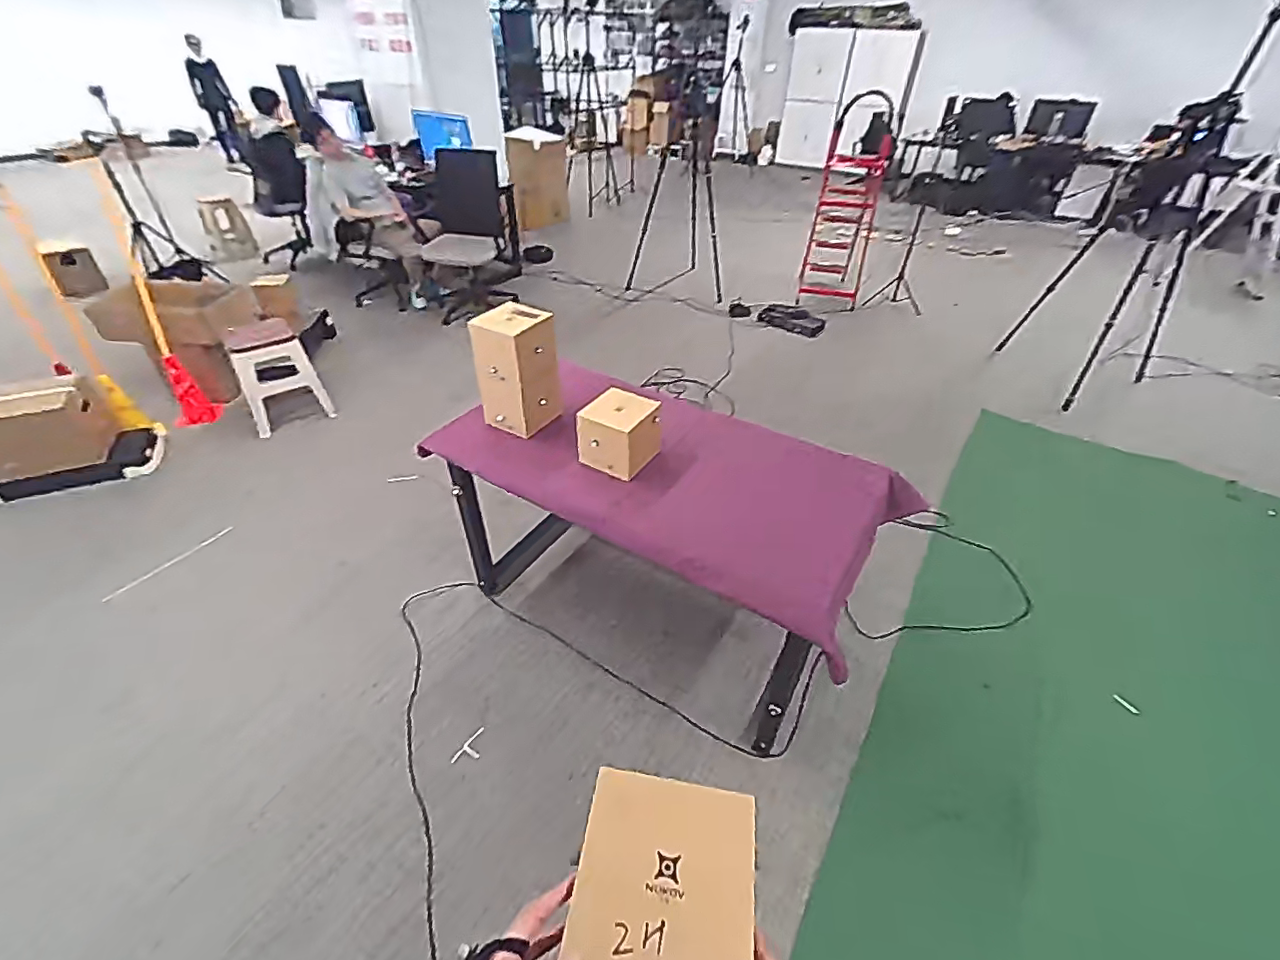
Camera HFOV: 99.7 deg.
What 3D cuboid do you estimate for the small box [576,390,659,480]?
[{"bbox_3d":[-0.059,-0.124,1.510,0.168,0.176,0.179,22,42,23],"label":"small box"}]

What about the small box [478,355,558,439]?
[{"bbox_3d":[-0.365,-0.254,1.651,0.168,0.176,0.179,21,43,22],"label":"small box"}]
